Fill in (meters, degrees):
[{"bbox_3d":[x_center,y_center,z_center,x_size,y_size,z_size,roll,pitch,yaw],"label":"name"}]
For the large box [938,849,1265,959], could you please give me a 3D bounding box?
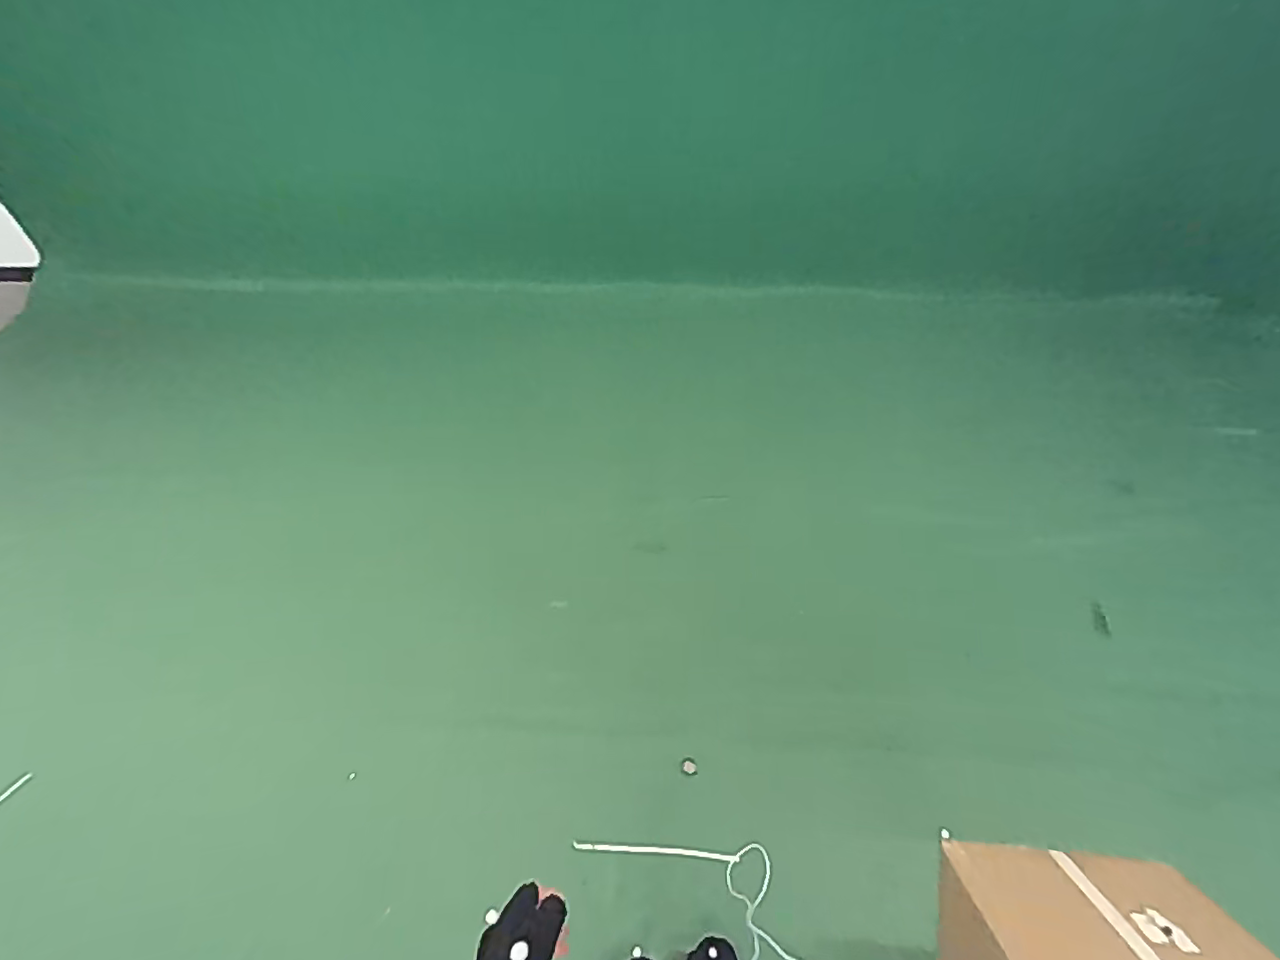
[{"bbox_3d":[0.577,0.712,0.605,0.320,0.408,0.320,1,91,8],"label":"large box"}]
